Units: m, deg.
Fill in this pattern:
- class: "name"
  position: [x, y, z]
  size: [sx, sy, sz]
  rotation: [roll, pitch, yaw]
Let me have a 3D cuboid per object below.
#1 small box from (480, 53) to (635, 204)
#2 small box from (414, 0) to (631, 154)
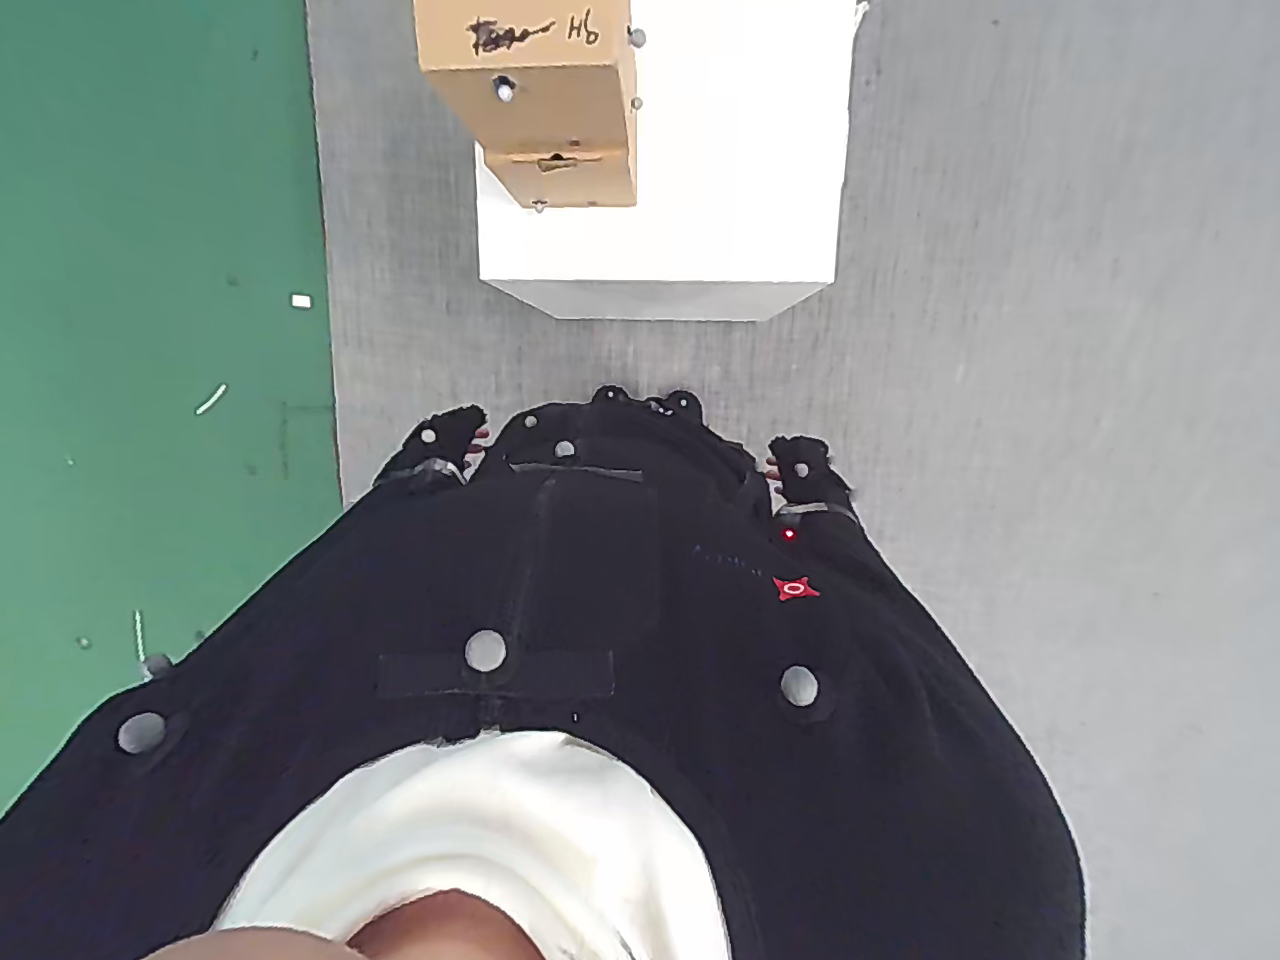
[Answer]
- class: "small box"
  position: [-0.092, -0.456, 0.669]
  size: [0.168, 0.176, 0.179]
  rotation: [1, 100, 3]
- class: "small box"
  position: [-0.097, -0.436, 0.507]
  size: [0.168, 0.176, 0.179]
  rotation: [1, 100, 3]
